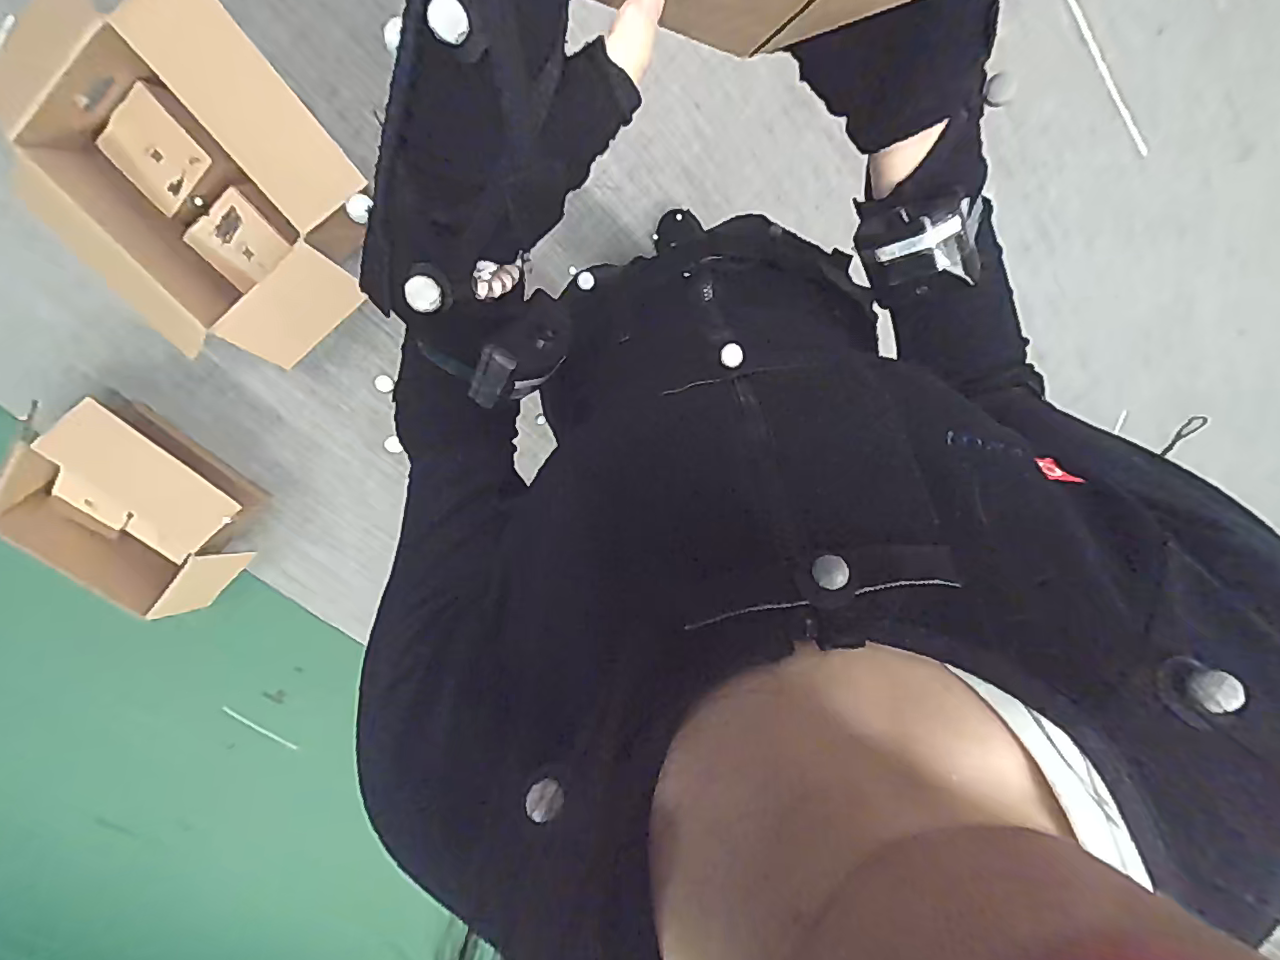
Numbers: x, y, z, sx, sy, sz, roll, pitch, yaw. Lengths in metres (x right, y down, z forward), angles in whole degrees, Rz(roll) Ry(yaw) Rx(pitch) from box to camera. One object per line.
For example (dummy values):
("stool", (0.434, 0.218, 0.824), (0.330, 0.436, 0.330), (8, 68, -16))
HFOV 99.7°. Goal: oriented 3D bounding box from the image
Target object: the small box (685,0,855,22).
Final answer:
("small box", (0.064, -0.276, 0.163), (0.179, 0.168, 0.176), (16, 119, 40))
